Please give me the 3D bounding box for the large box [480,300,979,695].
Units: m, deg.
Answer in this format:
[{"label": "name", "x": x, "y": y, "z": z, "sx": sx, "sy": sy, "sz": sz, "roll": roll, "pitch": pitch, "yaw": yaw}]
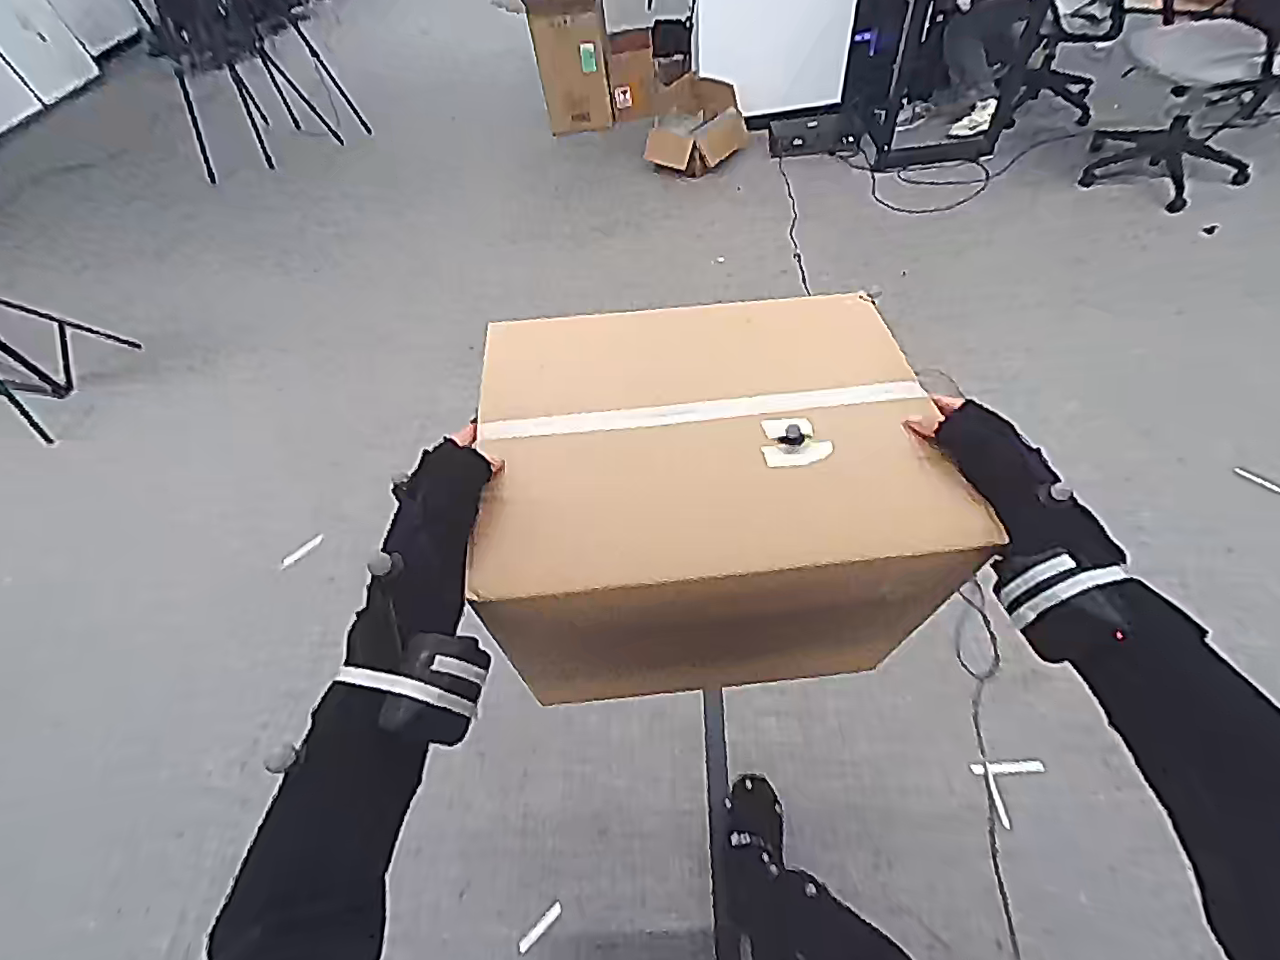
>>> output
[{"label": "large box", "x": 0.060, "y": 0.029, "z": 0.623, "sx": 0.408, "sy": 0.320, "sz": 0.320, "roll": -6, "pitch": 54, "yaw": -2}]
